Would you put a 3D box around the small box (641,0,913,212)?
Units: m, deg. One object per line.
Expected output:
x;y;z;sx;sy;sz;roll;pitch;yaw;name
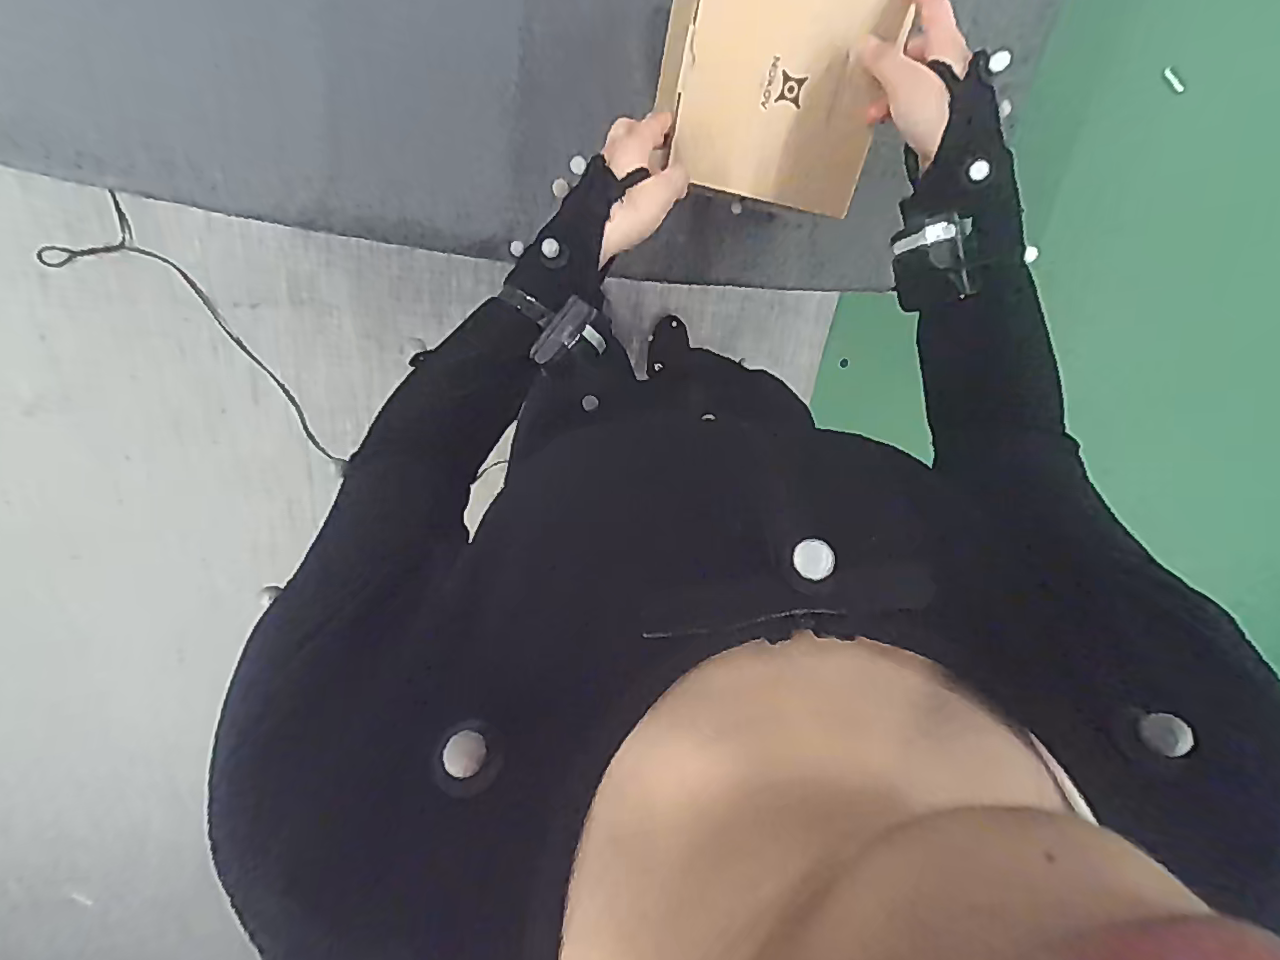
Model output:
0.105;-0.358;0.506;0.179;0.176;0.168;7;117;-12;small box
